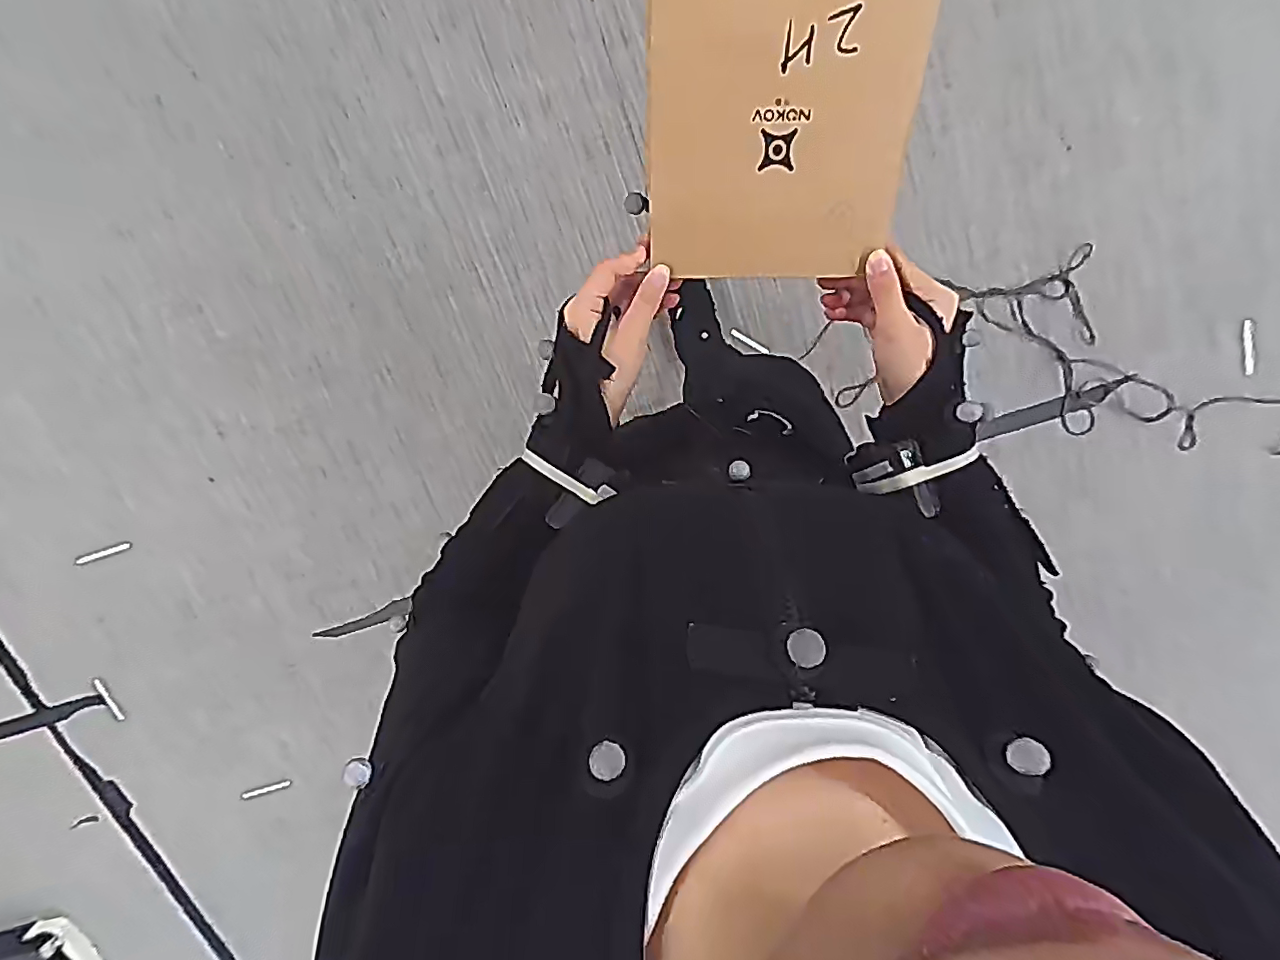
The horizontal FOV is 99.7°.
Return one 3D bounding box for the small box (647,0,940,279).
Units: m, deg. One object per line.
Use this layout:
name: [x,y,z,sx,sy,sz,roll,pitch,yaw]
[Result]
small box: [0.090,-0.263,0.413,0.168,0.176,0.179,0,122,0]
